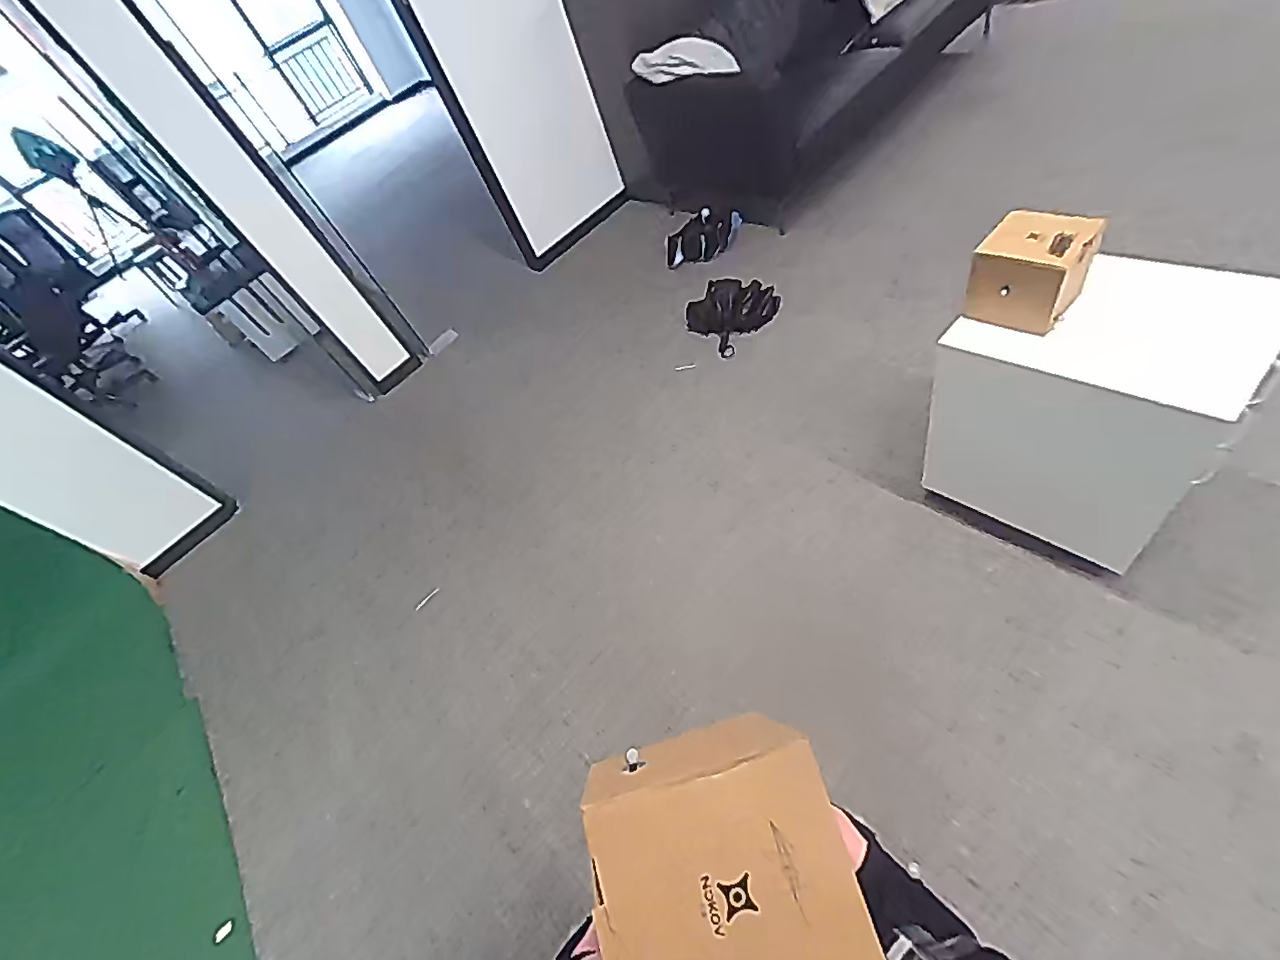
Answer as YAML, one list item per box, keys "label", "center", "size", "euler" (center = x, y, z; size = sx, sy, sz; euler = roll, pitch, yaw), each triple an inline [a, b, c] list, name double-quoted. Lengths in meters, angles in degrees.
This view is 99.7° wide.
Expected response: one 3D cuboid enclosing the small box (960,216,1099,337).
- label: "small box"
  center: [0.824, -0.434, 1.161]
  size: [0.168, 0.176, 0.179]
  euler: [-44, 49, -15]
